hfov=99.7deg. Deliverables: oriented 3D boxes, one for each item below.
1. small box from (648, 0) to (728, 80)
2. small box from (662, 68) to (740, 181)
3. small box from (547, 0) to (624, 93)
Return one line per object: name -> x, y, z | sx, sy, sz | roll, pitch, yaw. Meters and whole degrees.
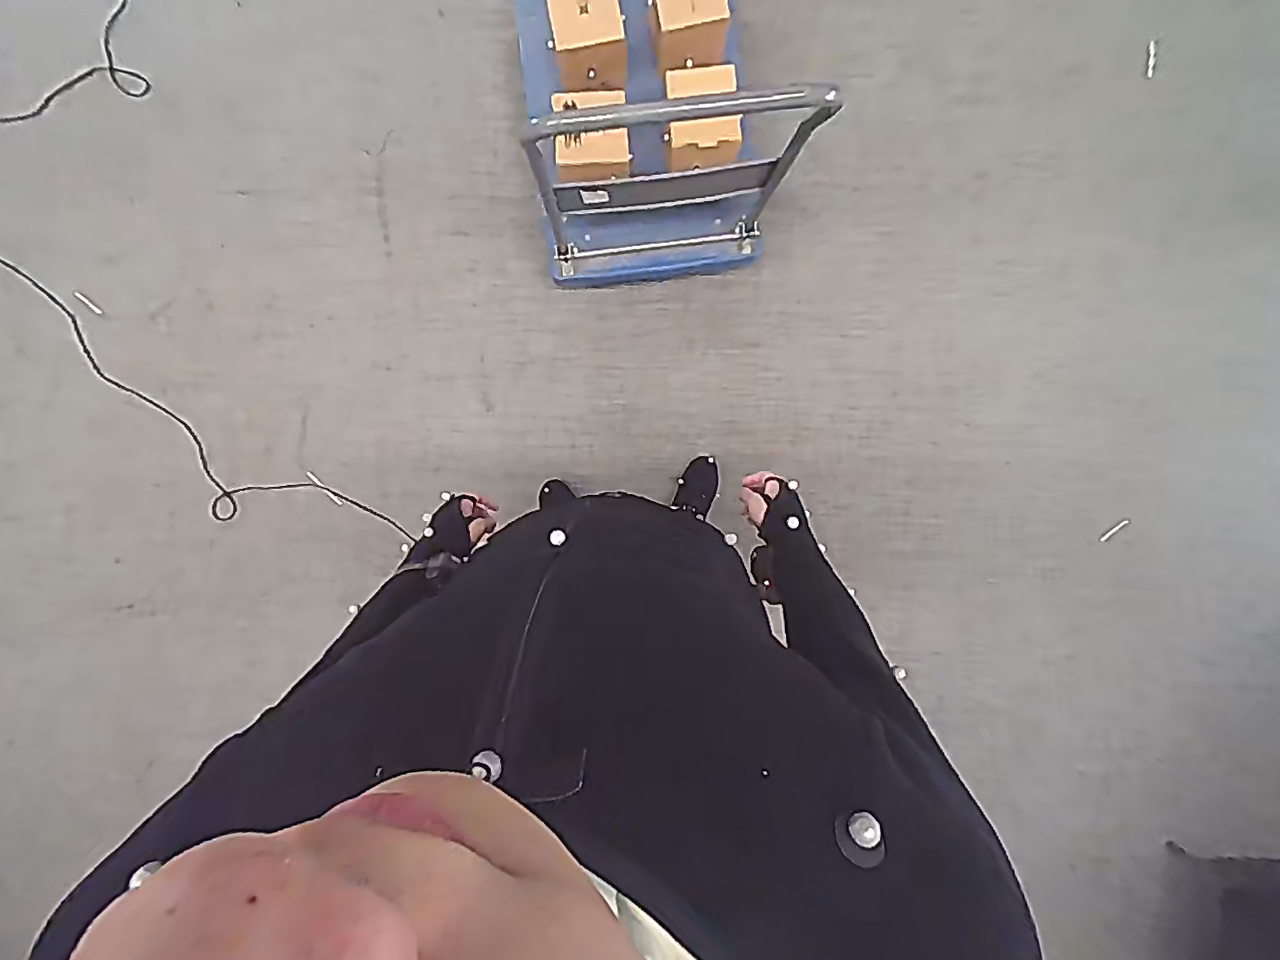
small box -> 0.114, -1.159, 1.354 | 0.168, 0.176, 0.179 | -11, 93, 1
small box -> 0.149, -0.891, 1.367 | 0.168, 0.176, 0.179 | -7, 93, 0
small box -> -0.133, -1.109, 1.354 | 0.168, 0.176, 0.179 | -11, 92, -1
